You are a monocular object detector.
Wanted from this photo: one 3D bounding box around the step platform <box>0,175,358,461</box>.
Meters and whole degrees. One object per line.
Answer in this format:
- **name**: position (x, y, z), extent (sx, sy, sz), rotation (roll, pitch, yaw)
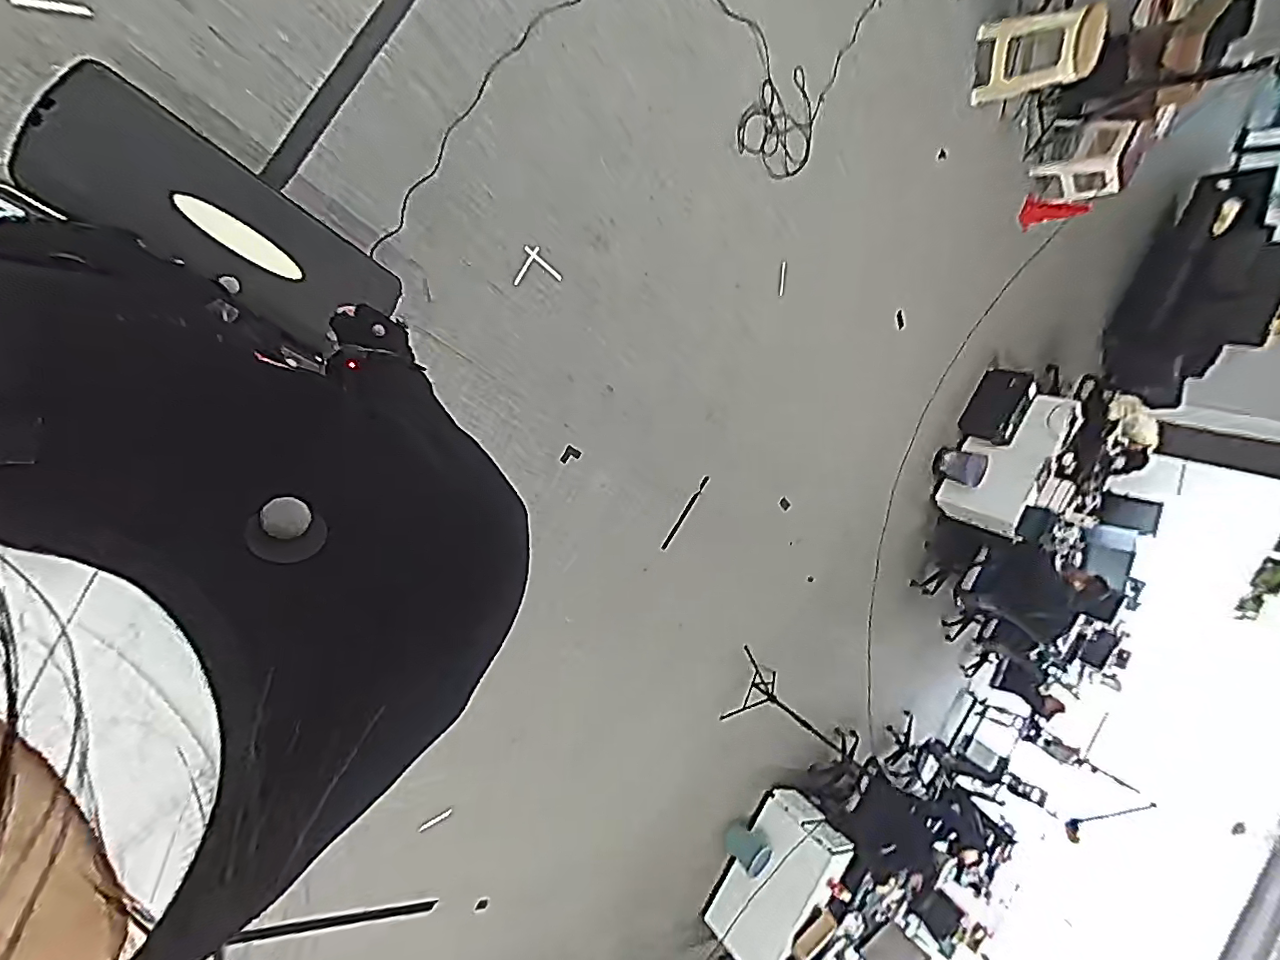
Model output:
- **step platform**: position (-0.996, -0.300, 1.167), extent (0.684, 0.204, 0.286), rotation (32, 86, -43)
